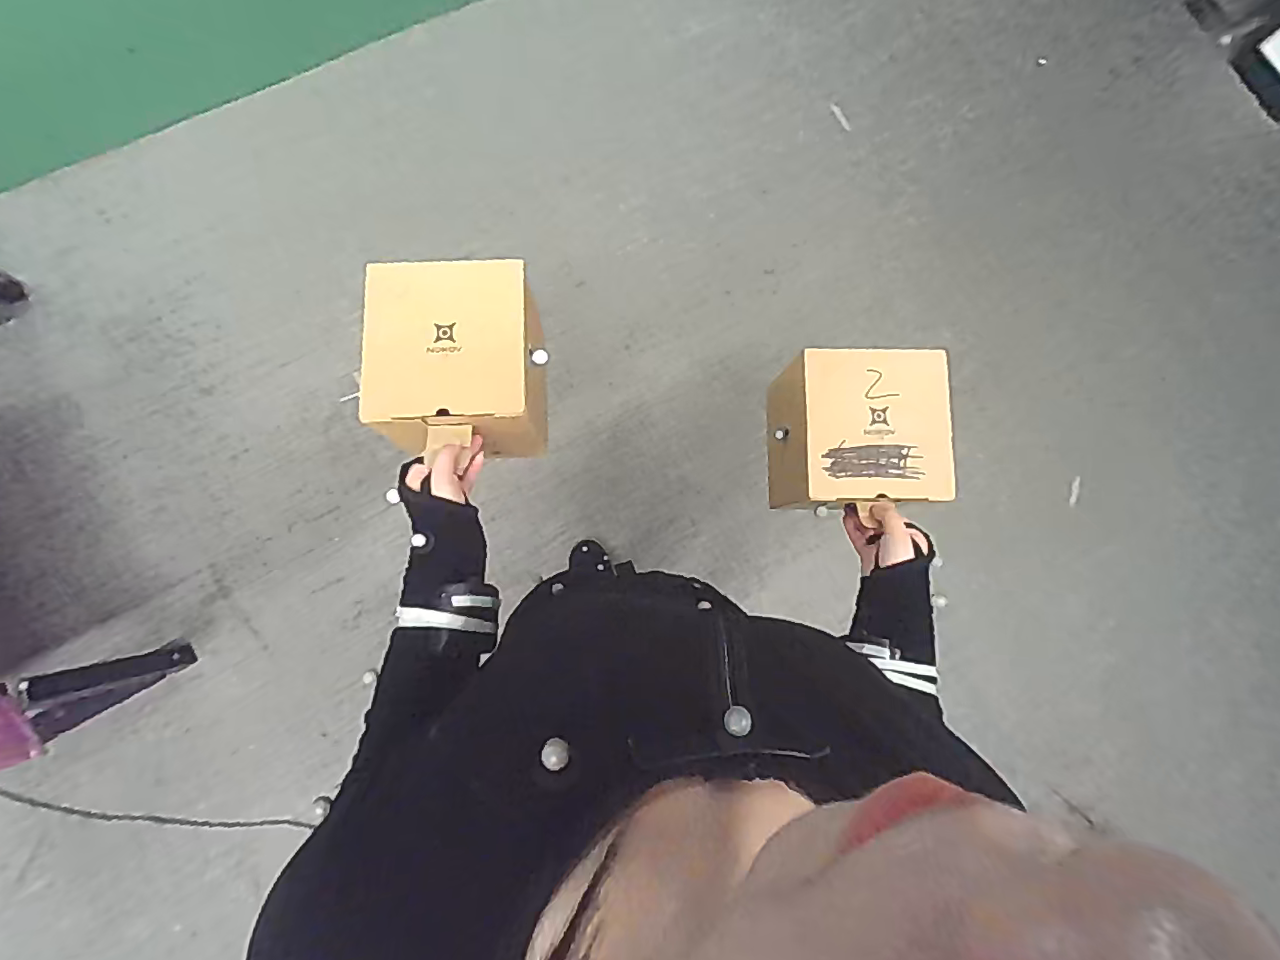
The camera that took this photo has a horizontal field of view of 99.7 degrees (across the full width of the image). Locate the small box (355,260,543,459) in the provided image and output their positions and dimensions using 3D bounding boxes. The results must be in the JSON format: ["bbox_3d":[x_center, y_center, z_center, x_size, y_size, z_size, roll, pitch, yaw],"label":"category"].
[{"bbox_3d":[-0.207,-0.130,0.631,0.168,0.176,0.179,-3,79,-3],"label":"small box"}]
